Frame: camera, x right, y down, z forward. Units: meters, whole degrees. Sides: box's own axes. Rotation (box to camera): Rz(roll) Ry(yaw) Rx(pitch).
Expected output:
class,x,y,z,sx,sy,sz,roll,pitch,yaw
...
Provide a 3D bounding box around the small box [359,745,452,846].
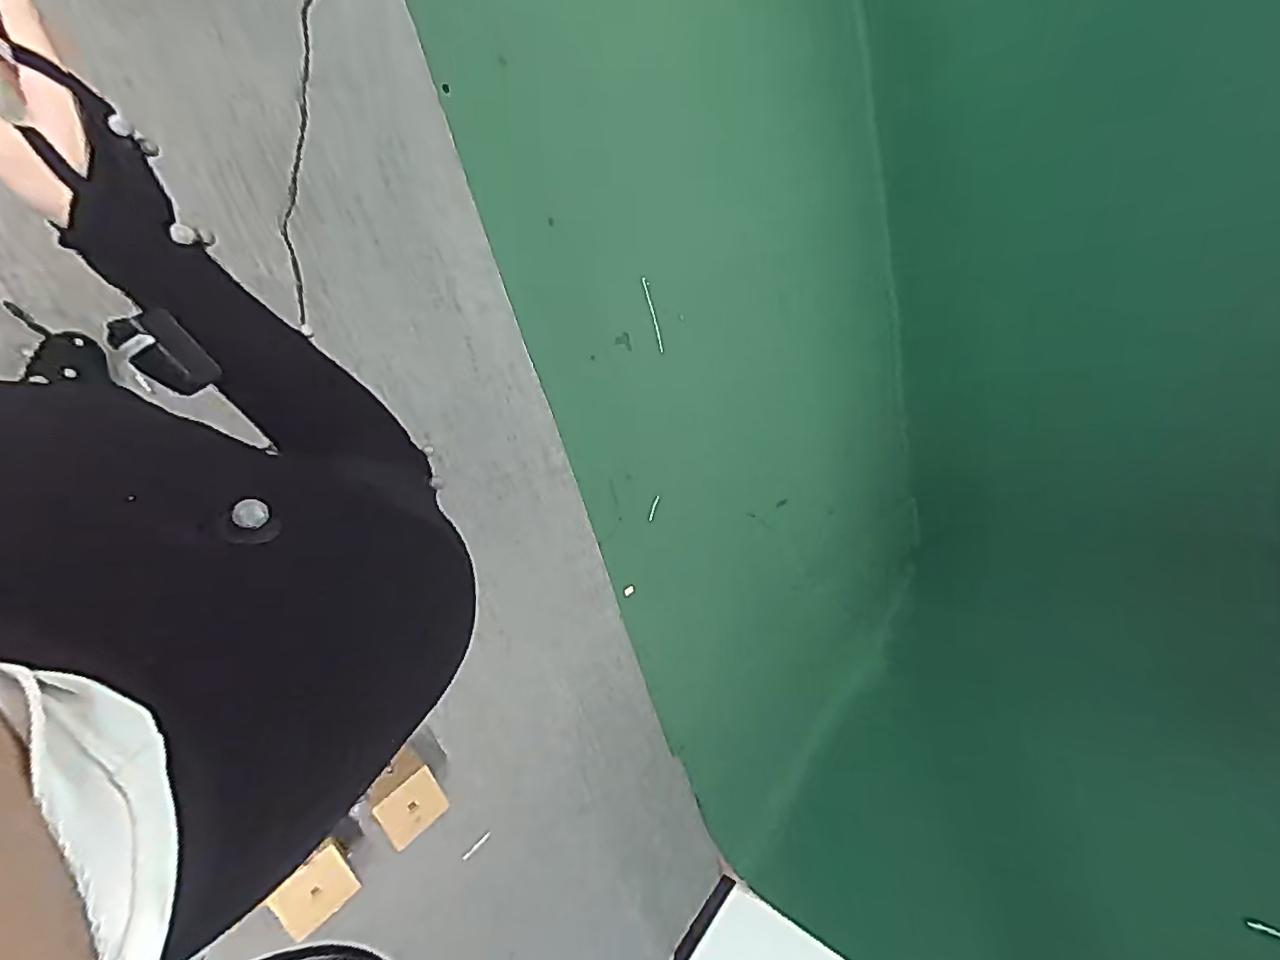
class,x,y,z,sx,sy,sz,roll,pitch,yaw
small box,-0.695,0.916,1.595,0.168,0.176,0.179,-33,116,-37

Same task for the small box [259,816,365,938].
class,x,y,z,sx,sy,sz,roll,pitch,yaw
small box,-0.873,1.038,1.436,0.168,0.176,0.179,-34,116,-38
